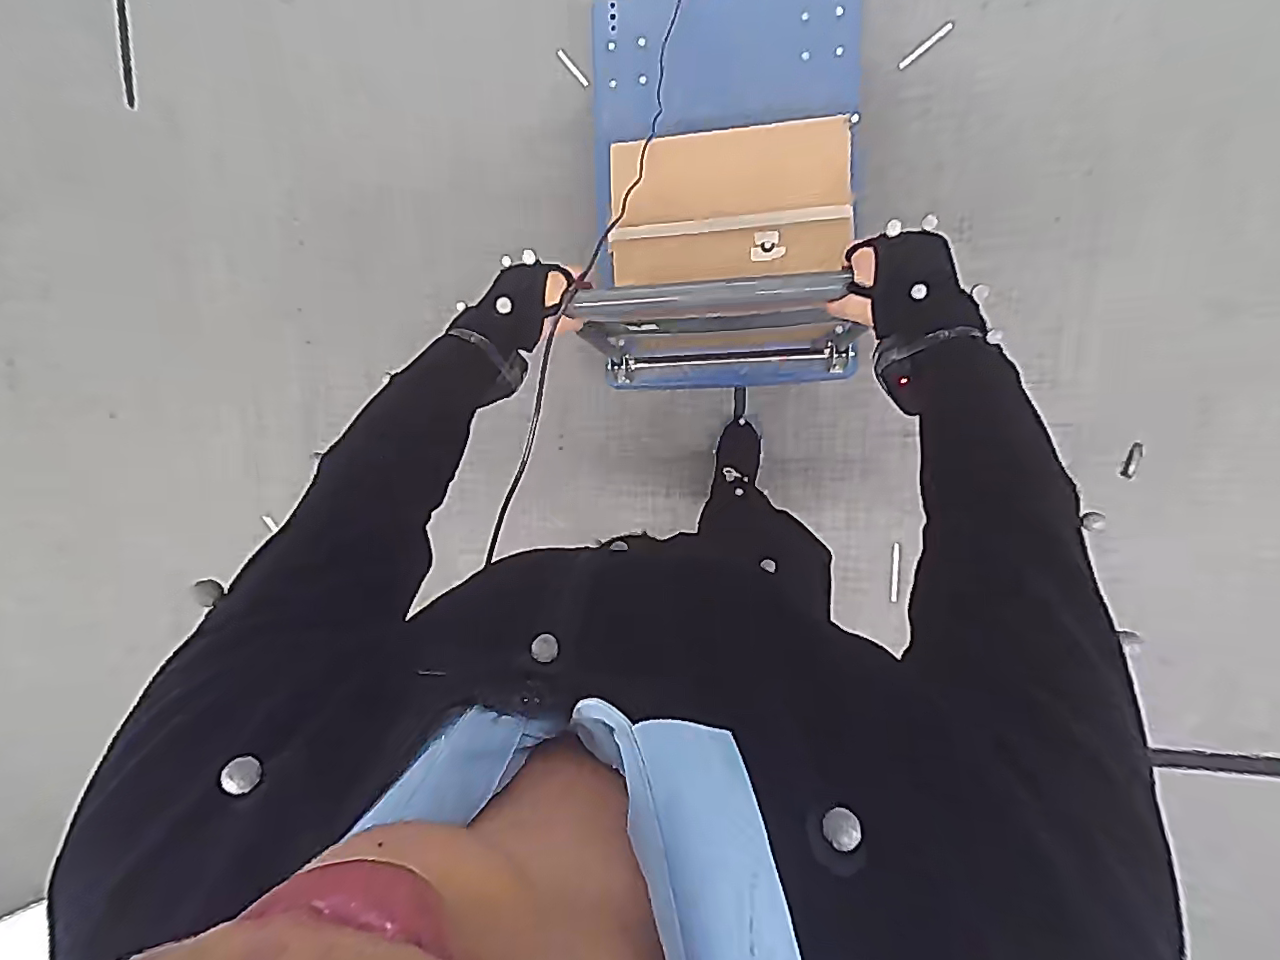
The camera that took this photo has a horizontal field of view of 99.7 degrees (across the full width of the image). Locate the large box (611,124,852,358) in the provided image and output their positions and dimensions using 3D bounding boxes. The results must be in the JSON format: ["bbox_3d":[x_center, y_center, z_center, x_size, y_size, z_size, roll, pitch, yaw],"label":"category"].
[{"bbox_3d":[0.173,-0.431,1.066,0.408,0.320,0.320,-1,95,9],"label":"large box"}]
